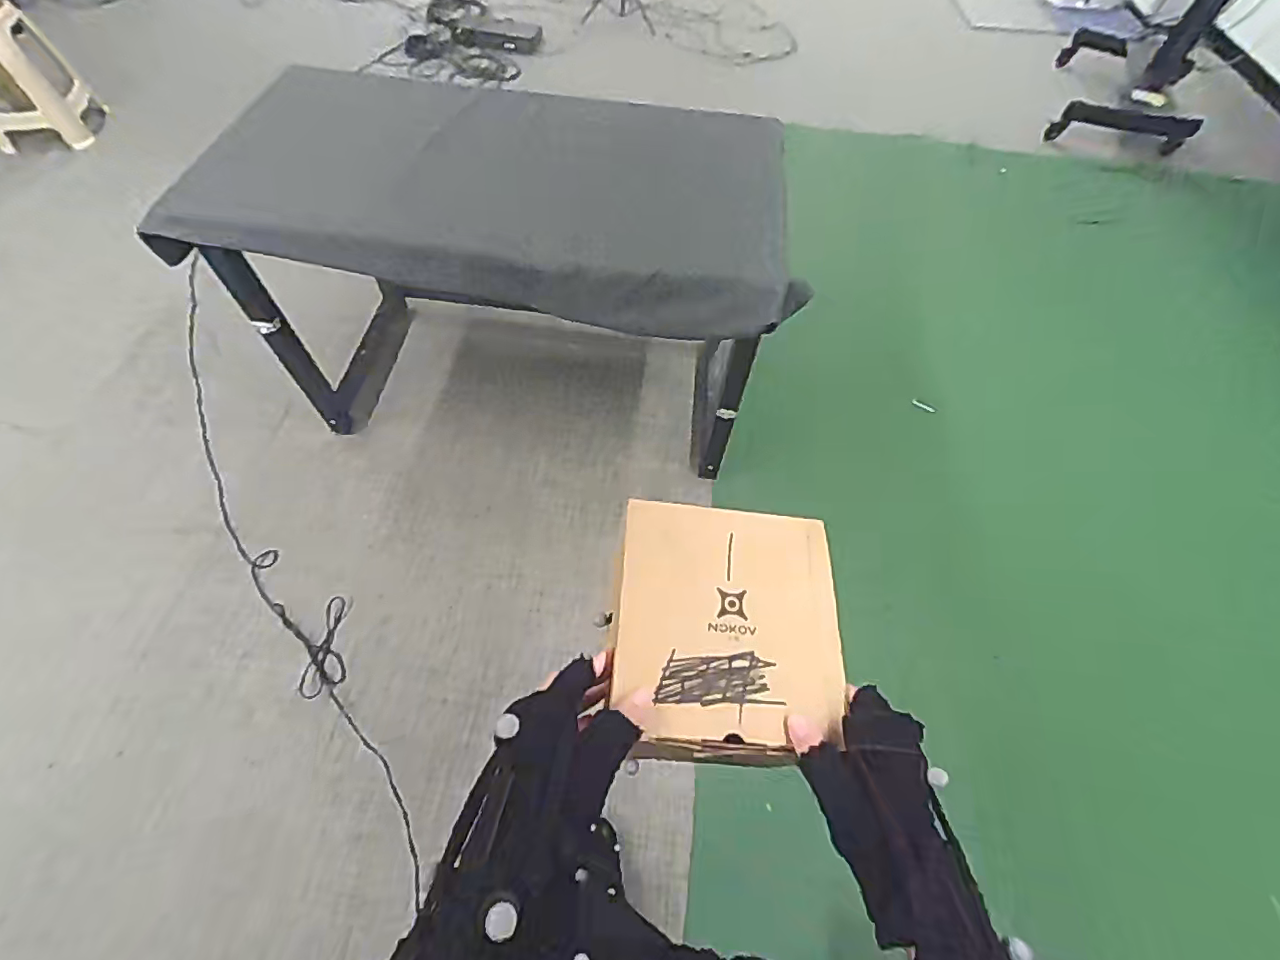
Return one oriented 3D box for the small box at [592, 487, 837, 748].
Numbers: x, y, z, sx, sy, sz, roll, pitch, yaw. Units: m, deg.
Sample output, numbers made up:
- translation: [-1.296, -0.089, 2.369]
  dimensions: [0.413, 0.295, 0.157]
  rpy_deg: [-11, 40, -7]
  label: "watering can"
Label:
- translation: [0.050, 0.129, 0.470]
  dimensions: [0.168, 0.176, 0.179]
  rpy_deg: [7, 59, -5]
  label: "small box"
